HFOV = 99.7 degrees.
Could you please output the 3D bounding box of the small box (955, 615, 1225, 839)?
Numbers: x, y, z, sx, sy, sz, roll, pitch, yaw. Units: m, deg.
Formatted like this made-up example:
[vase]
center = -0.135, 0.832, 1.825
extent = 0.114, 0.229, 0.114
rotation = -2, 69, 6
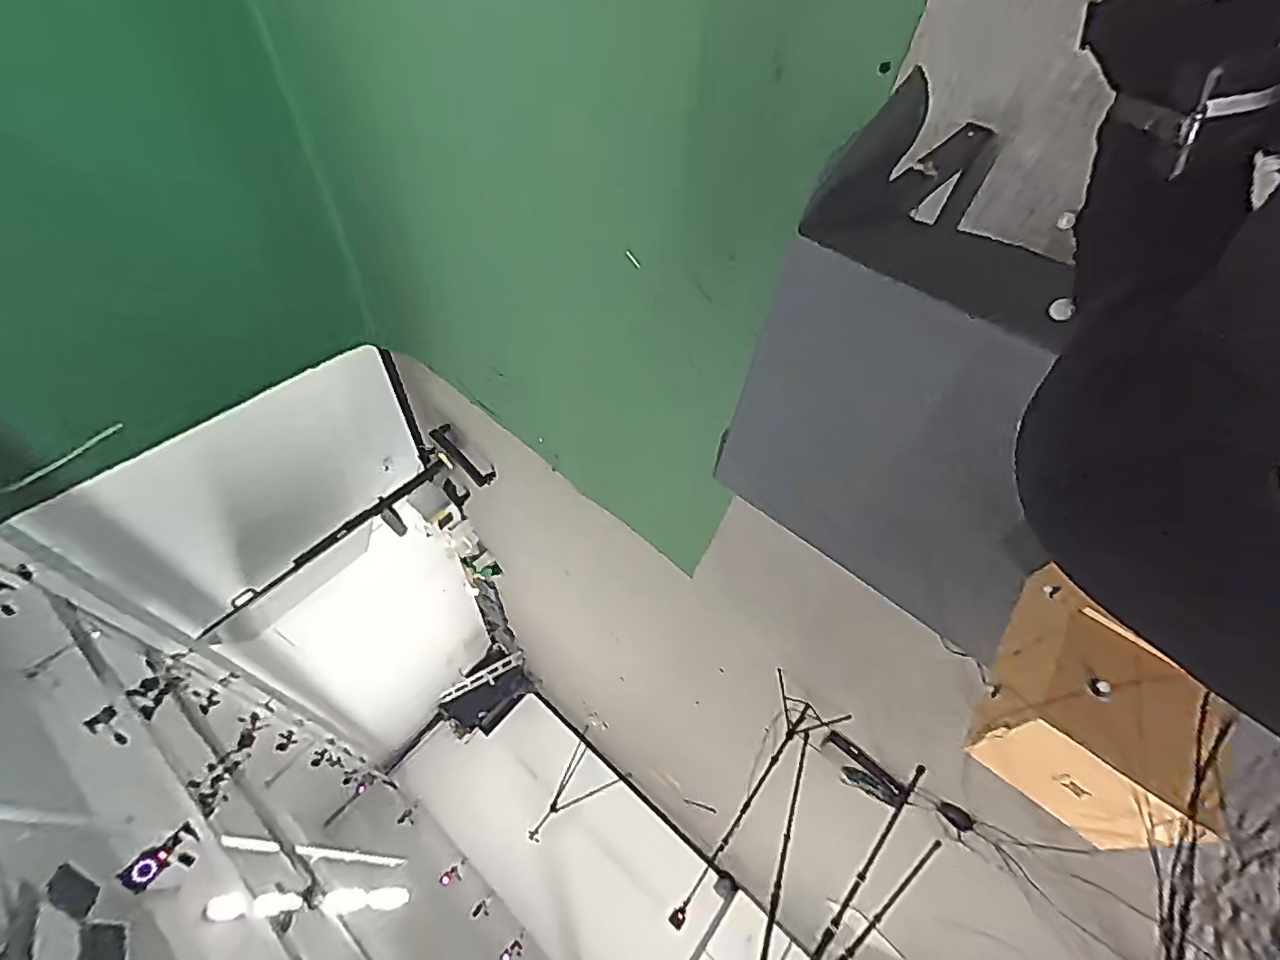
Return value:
[small box]
center = 0.535, 0.288, 0.654
extent = 0.179, 0.176, 0.168
rotation = 36, 149, 20
